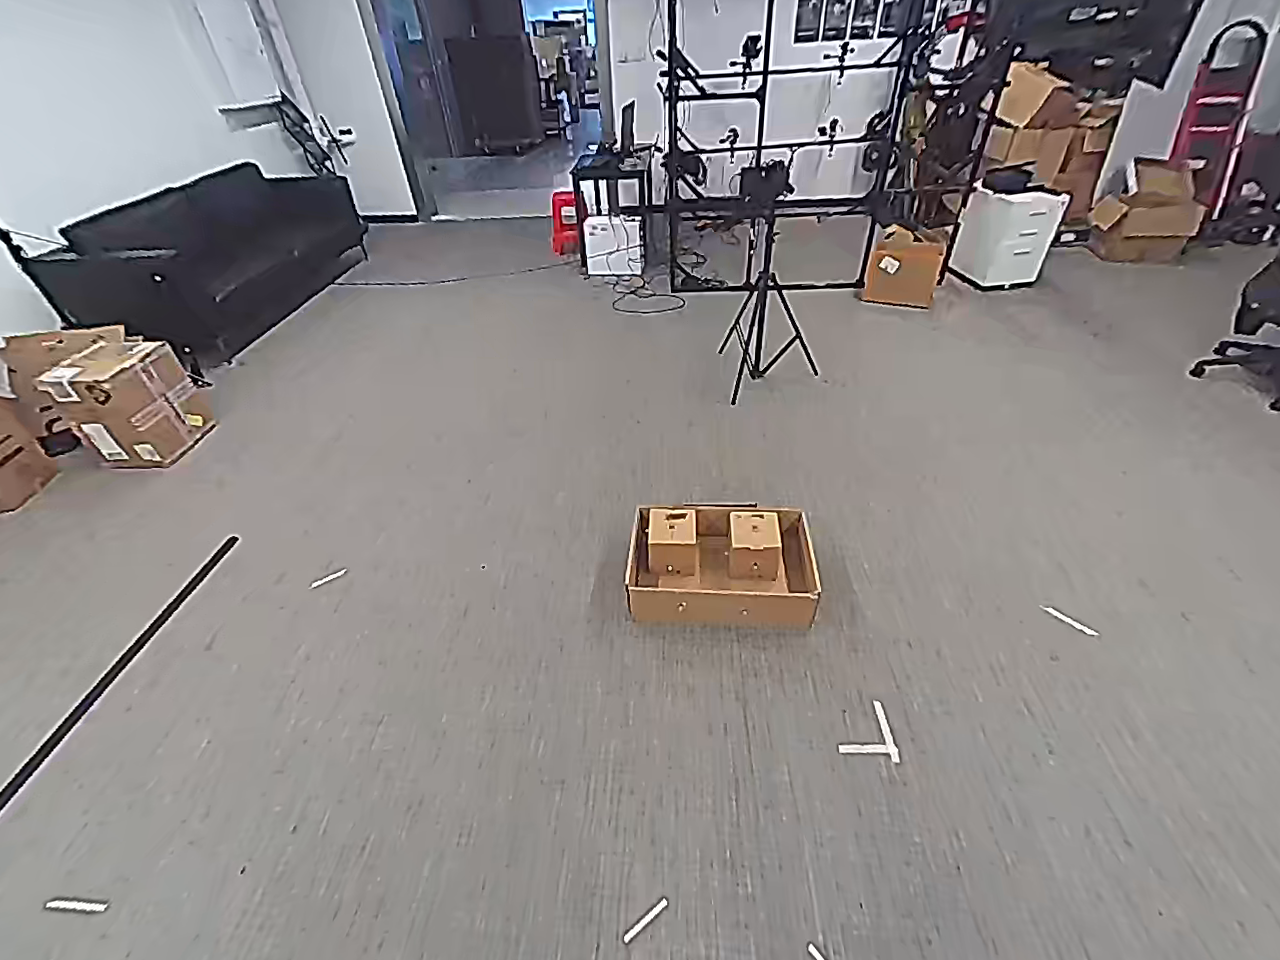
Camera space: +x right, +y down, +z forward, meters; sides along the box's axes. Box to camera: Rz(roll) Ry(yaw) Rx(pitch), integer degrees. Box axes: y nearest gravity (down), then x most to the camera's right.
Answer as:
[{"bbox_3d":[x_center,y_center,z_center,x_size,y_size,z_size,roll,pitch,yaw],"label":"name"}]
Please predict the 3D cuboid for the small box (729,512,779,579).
[{"bbox_3d":[0.401,0.234,1.912,0.168,0.176,0.179,0,41,9],"label":"small box"}]
